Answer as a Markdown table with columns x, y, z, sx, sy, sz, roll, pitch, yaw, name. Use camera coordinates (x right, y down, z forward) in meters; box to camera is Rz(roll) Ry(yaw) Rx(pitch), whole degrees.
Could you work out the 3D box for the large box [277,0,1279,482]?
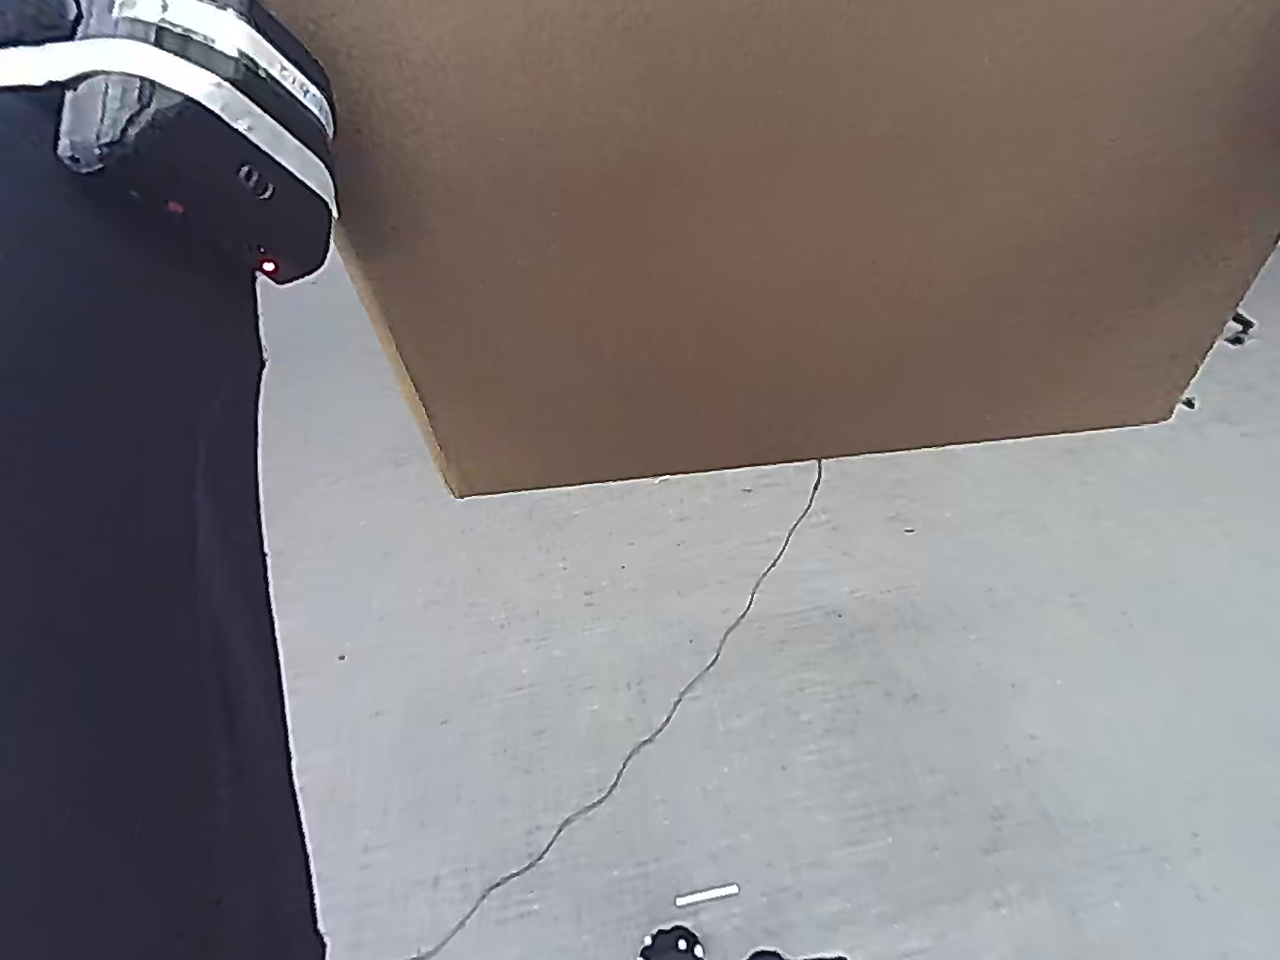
| x | y | z | sx | sy | sz | roll | pitch | yaw | name |
| --- | --- | --- | --- | --- | --- | --- | --- | --- | --- |
| 0.067 | -0.225 | 0.336 | 0.408 | 0.320 | 0.320 | -6 | 40 | 1 | large box |
